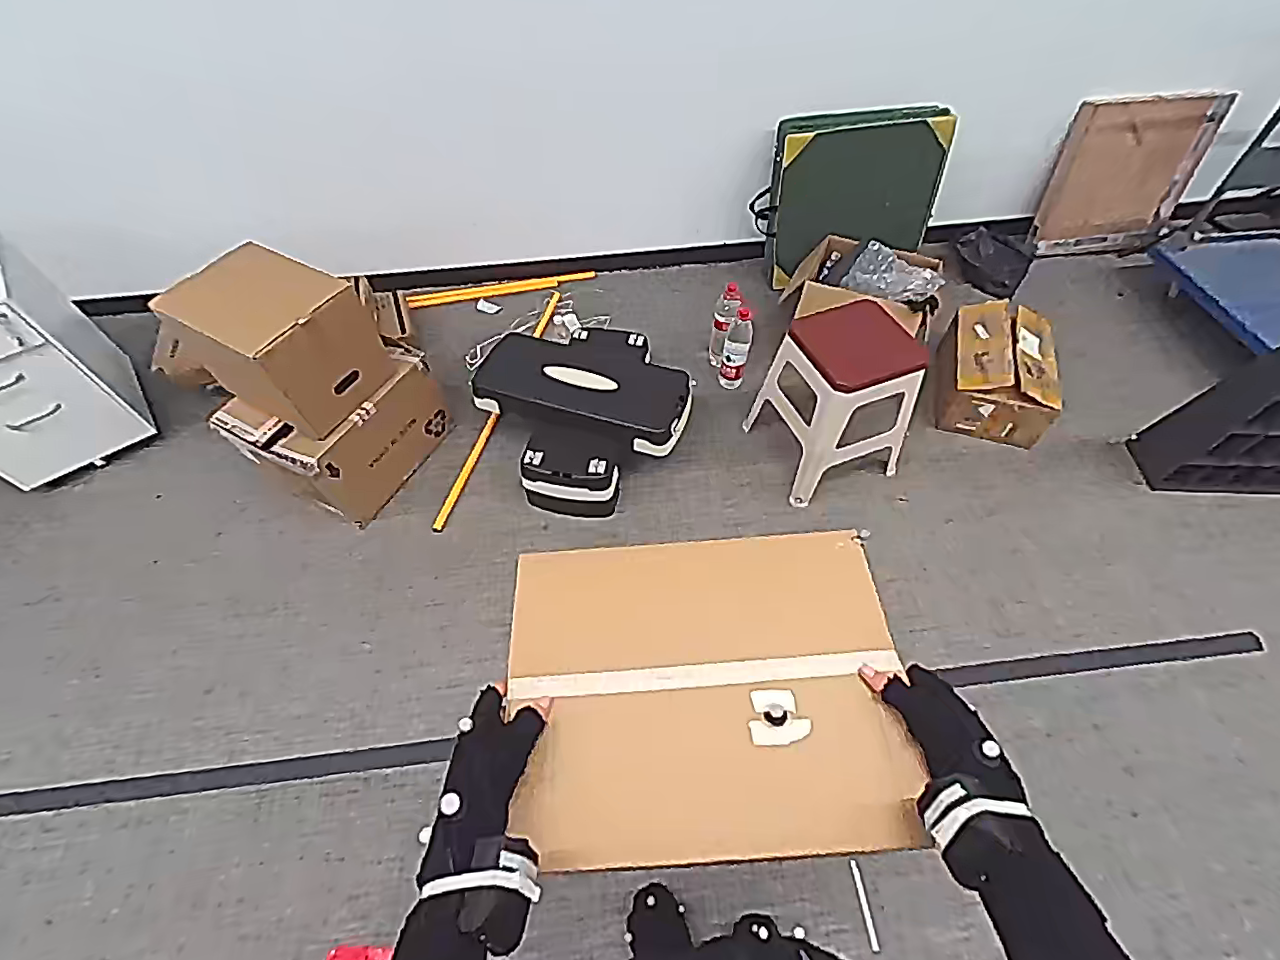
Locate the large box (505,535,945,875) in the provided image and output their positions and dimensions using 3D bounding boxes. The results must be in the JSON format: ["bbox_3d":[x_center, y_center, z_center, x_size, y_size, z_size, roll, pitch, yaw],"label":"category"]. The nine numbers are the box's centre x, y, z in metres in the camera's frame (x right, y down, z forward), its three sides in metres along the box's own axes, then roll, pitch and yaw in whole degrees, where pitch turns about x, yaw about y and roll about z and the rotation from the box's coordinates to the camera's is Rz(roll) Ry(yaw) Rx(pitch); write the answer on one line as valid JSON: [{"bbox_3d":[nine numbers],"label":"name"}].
[{"bbox_3d":[0.072,0.293,0.685,0.408,0.320,0.320,-4,55,1],"label":"large box"}]

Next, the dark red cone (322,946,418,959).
[{"bbox_3d":[-0.538,0.927,0.895,0.201,0.394,0.202,0,55,0],"label":"dark red cone"}]
